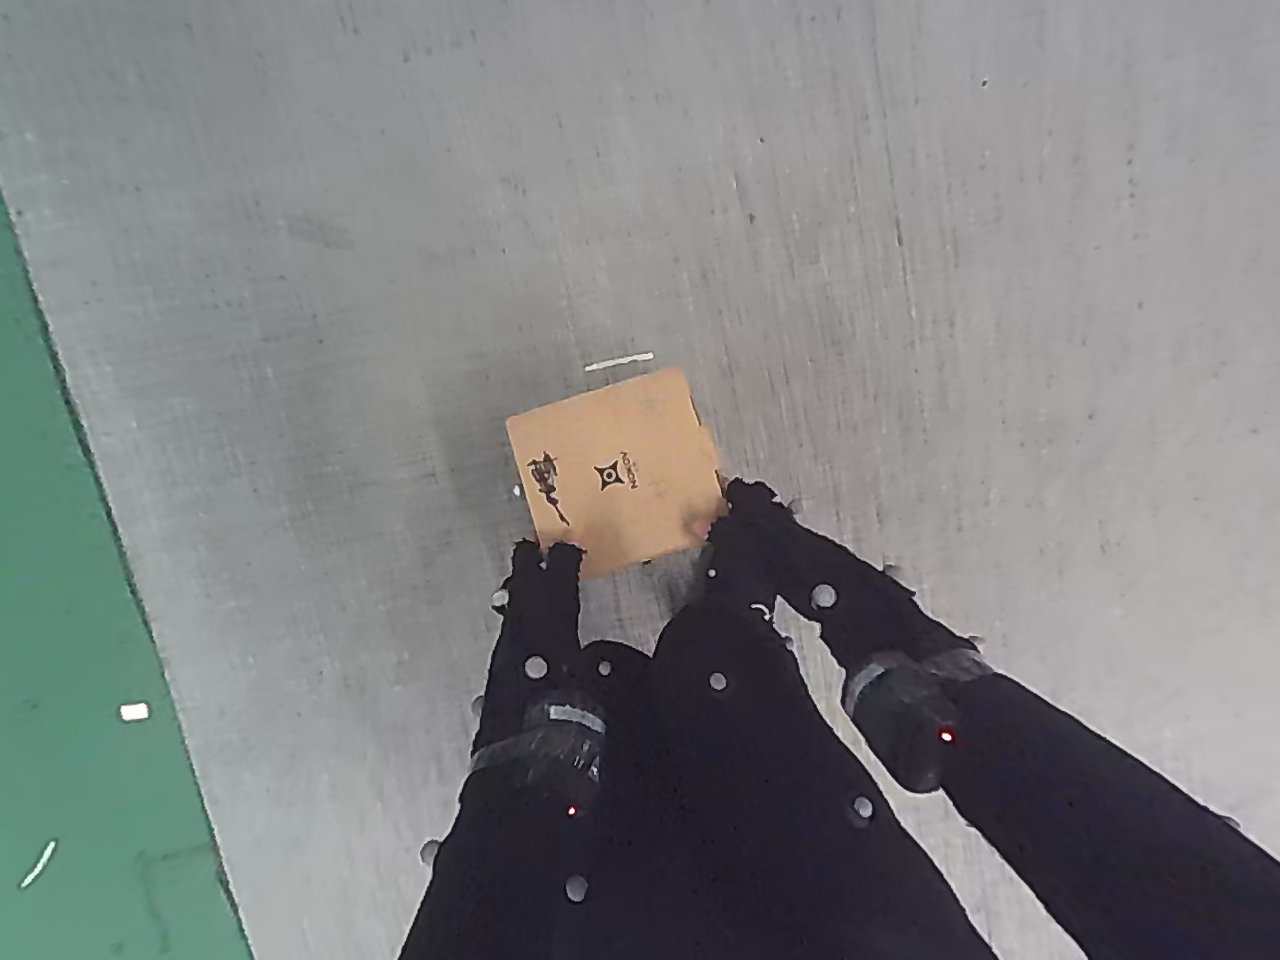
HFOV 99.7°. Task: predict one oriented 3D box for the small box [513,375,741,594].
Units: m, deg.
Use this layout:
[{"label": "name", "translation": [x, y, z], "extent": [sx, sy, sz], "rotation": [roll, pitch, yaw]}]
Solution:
[{"label": "small box", "translation": [-0.014, 0.016, 0.570], "extent": [0.179, 0.176, 0.168], "rotation": [-17, 78, -2]}]
